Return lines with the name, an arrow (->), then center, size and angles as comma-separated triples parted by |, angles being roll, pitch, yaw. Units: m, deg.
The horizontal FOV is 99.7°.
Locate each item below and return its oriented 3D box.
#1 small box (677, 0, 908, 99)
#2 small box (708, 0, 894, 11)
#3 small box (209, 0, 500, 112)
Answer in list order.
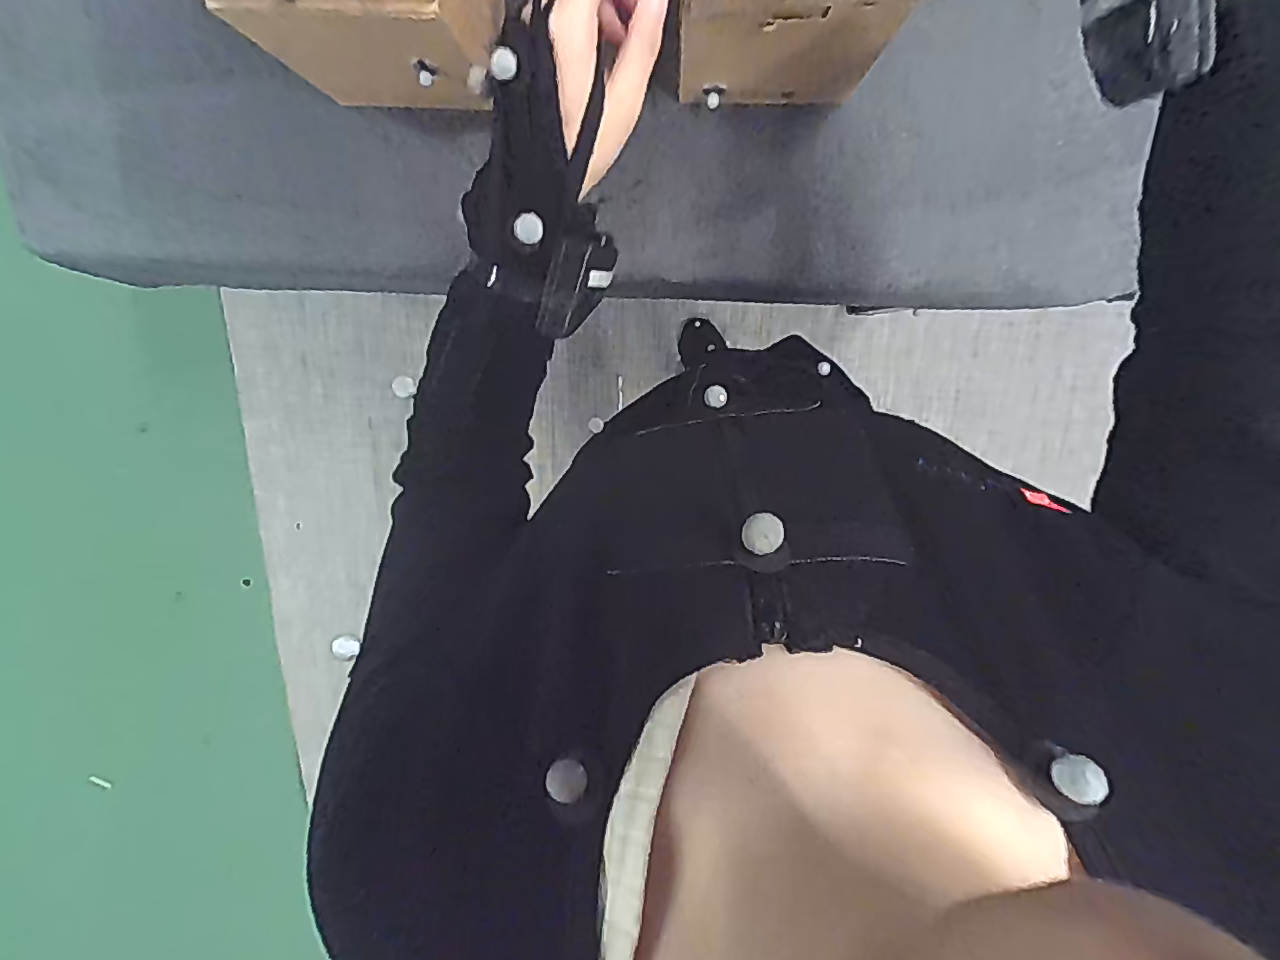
small box -> 0.115, -0.435, 0.433 | 0.168, 0.176, 0.179 | 2, 103, 2
small box -> 0.107, -0.392, 0.272 | 0.168, 0.176, 0.179 | -1, 103, 4
small box -> -0.222, -0.436, 0.452 | 0.179, 0.176, 0.168 | 3, 103, 3
